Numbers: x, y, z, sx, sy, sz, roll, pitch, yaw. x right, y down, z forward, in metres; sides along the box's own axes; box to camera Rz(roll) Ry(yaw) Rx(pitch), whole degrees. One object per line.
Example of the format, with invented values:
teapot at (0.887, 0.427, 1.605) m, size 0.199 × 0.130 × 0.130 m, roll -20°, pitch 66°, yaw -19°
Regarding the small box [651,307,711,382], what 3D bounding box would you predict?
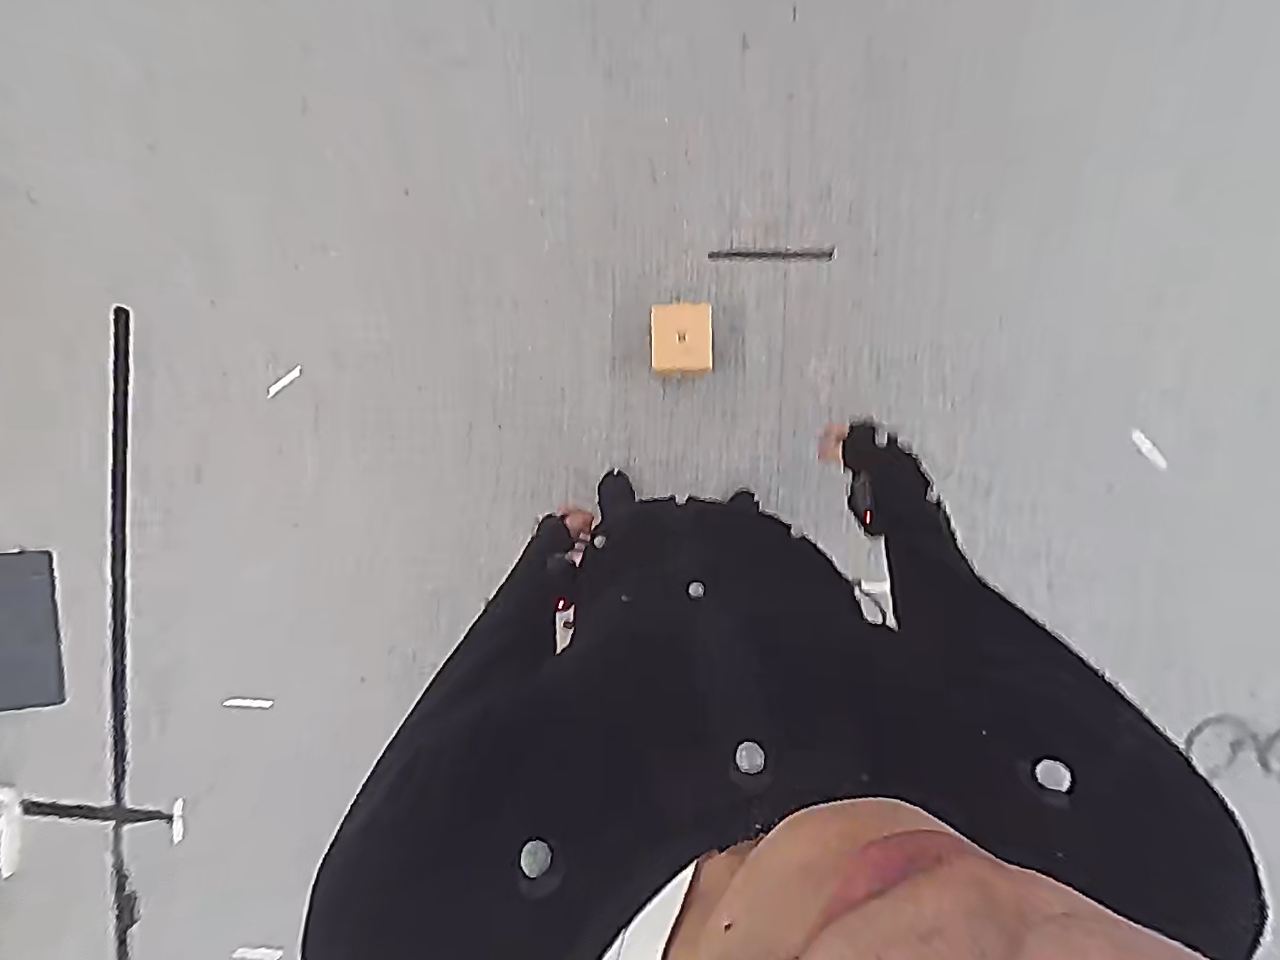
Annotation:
small box at (0.114, -0.384, 1.551) m, size 0.168 × 0.176 × 0.179 m, roll -1°, pitch 92°, yaw 2°
